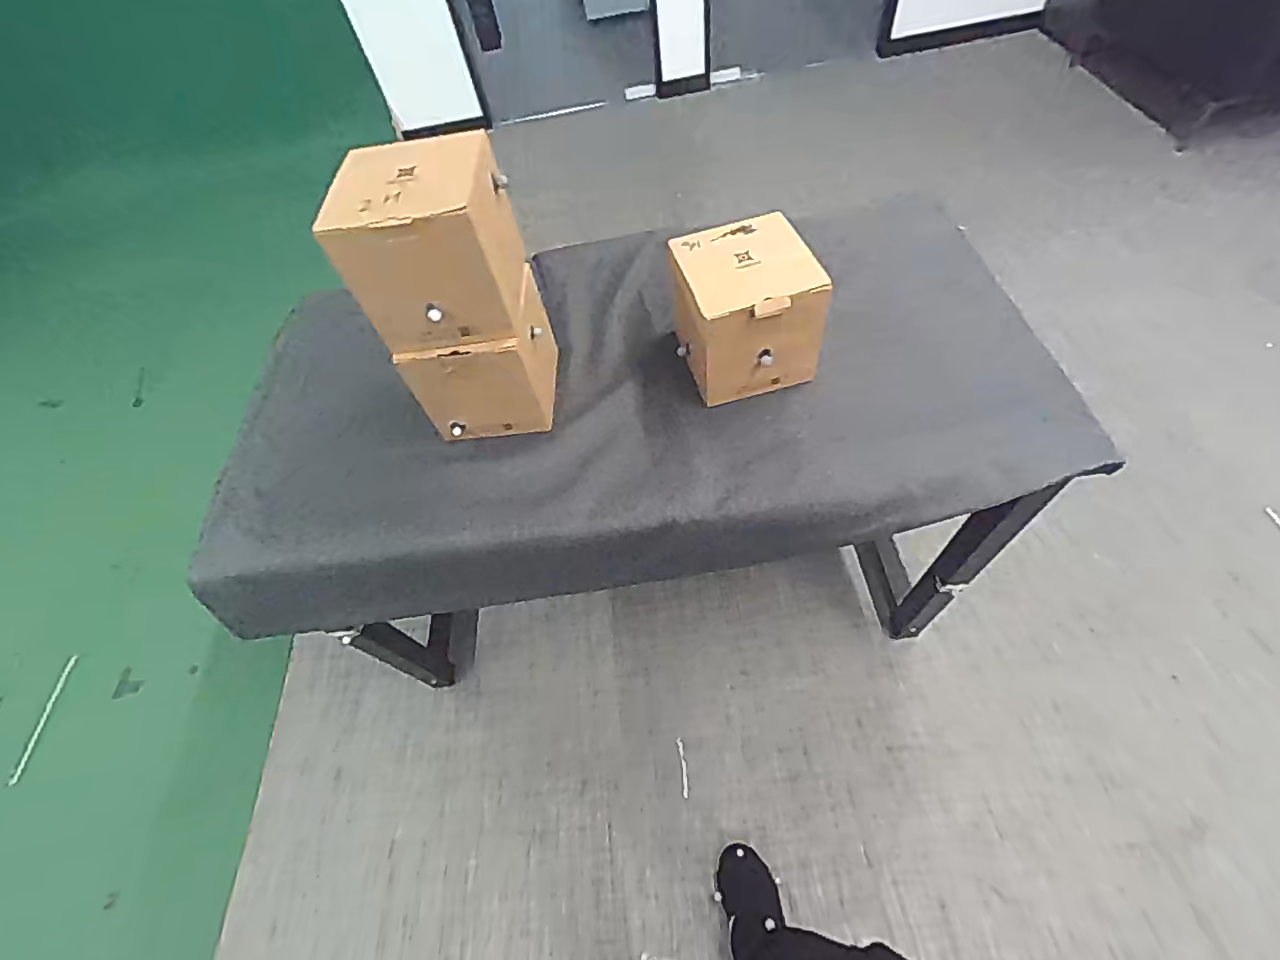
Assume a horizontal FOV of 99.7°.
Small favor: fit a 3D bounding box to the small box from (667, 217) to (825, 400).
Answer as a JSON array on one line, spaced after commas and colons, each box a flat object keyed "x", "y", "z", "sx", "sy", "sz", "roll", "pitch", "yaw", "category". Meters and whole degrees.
[{"x": 0.144, "y": -0.235, "z": 0.776, "sx": 0.168, "sy": 0.176, "sz": 0.179, "roll": -15, "pitch": 56, "yaw": -2, "category": "small box"}]

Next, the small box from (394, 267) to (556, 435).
[{"x": -0.225, "y": -0.179, "z": 0.792, "sx": 0.168, "sy": 0.176, "sz": 0.179, "roll": -5, "pitch": 55, "yaw": 5, "category": "small box"}]

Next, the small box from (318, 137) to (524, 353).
[{"x": -0.248, "y": -0.283, "z": 0.665, "sx": 0.168, "sy": 0.176, "sz": 0.179, "roll": -7, "pitch": 56, "yaw": 4, "category": "small box"}]
